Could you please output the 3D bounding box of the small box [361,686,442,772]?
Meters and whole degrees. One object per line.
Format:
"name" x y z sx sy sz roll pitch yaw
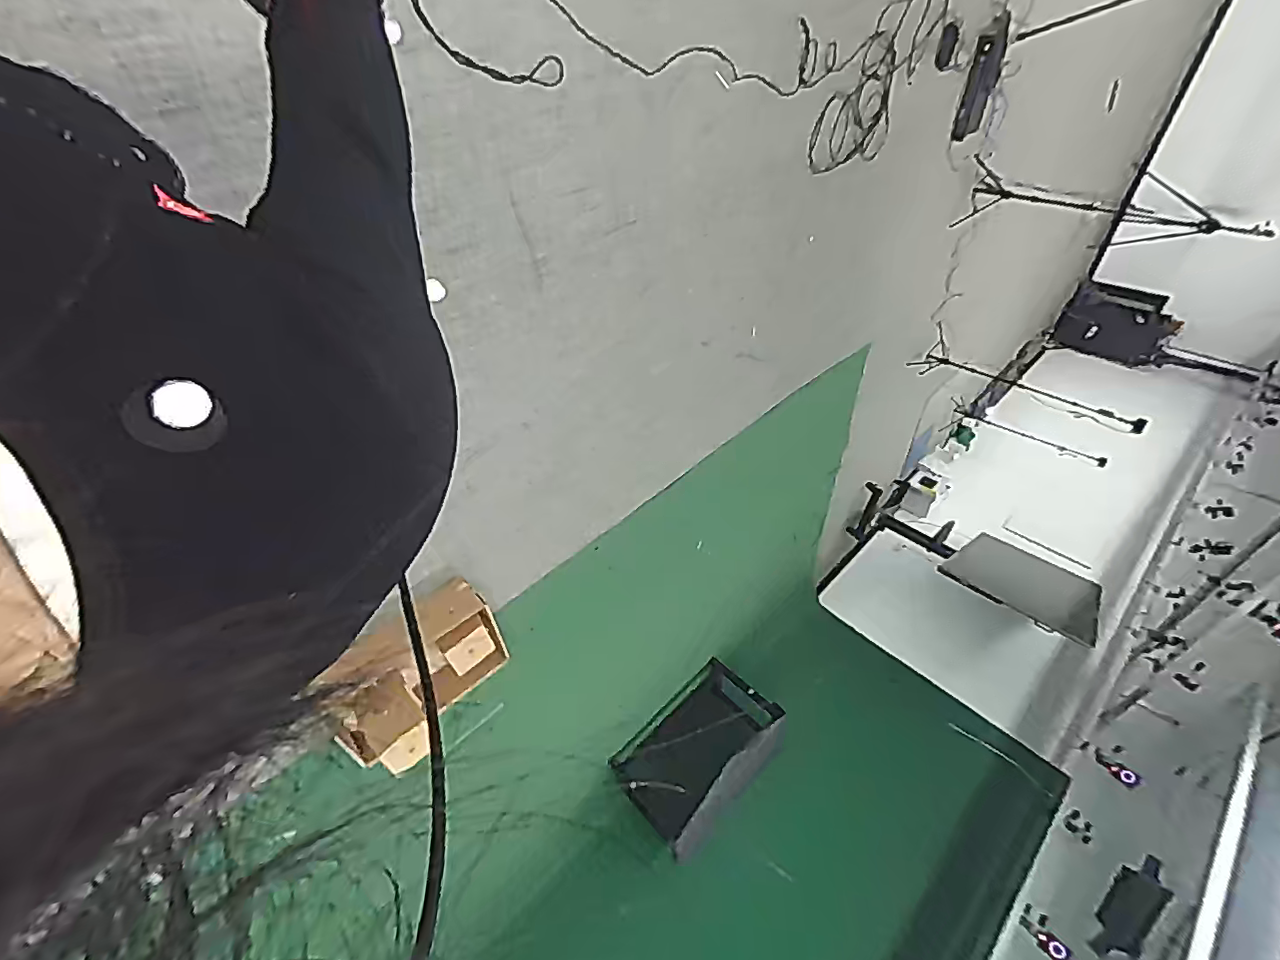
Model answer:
"small box" -0.796 0.826 1.808 0.168 0.176 0.179 -35 140 -29
